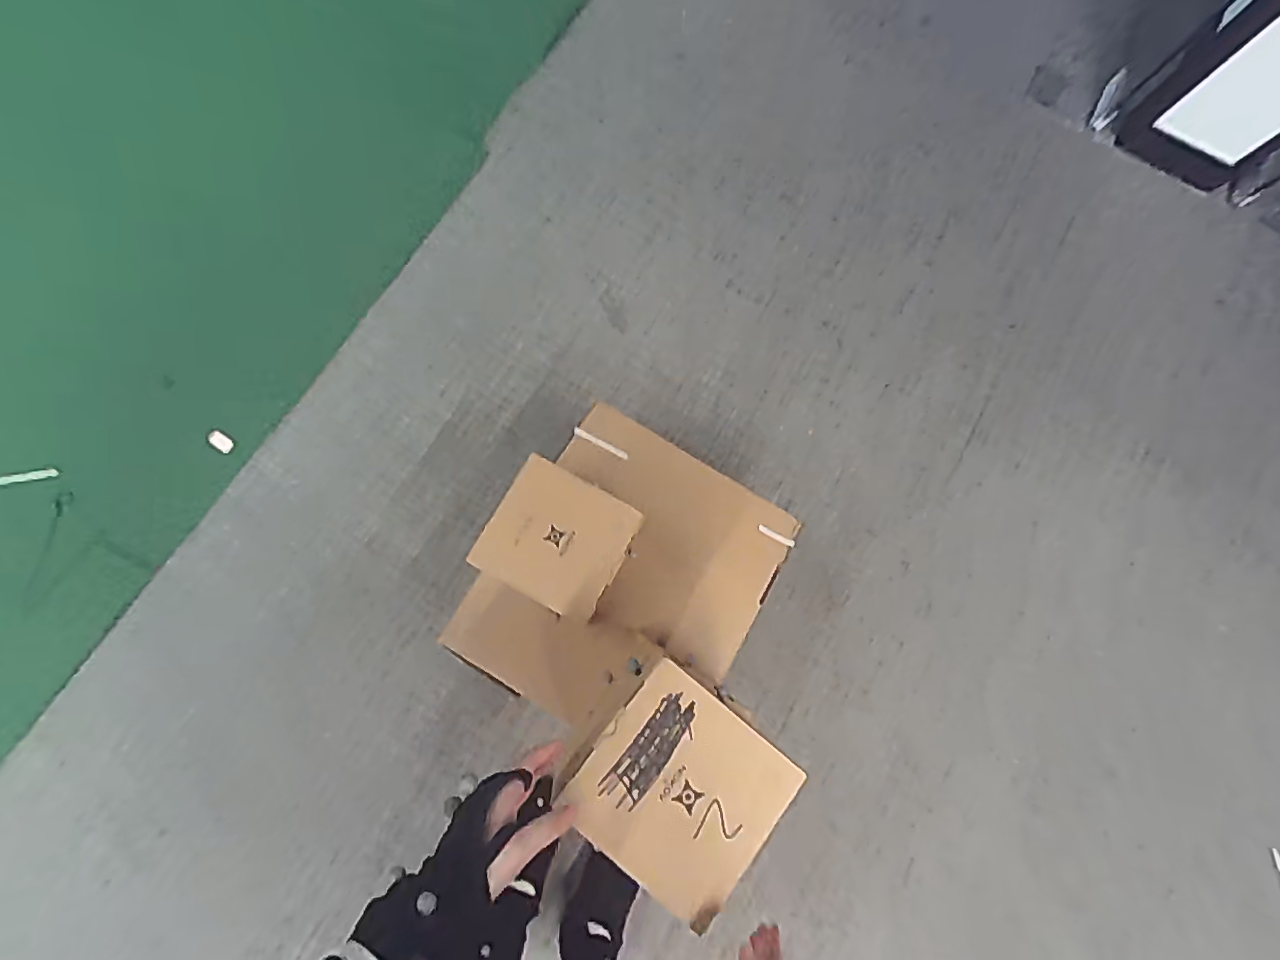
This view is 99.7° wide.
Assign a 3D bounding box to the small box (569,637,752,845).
[{"bbox_3d":[0.018,0.331,0.731,0.168,0.176,0.179,35,77,3],"label":"small box"}]

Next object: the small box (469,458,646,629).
[{"bbox_3d":[-0.110,0.096,0.776,0.179,0.176,0.168,29,76,3],"label":"small box"}]
